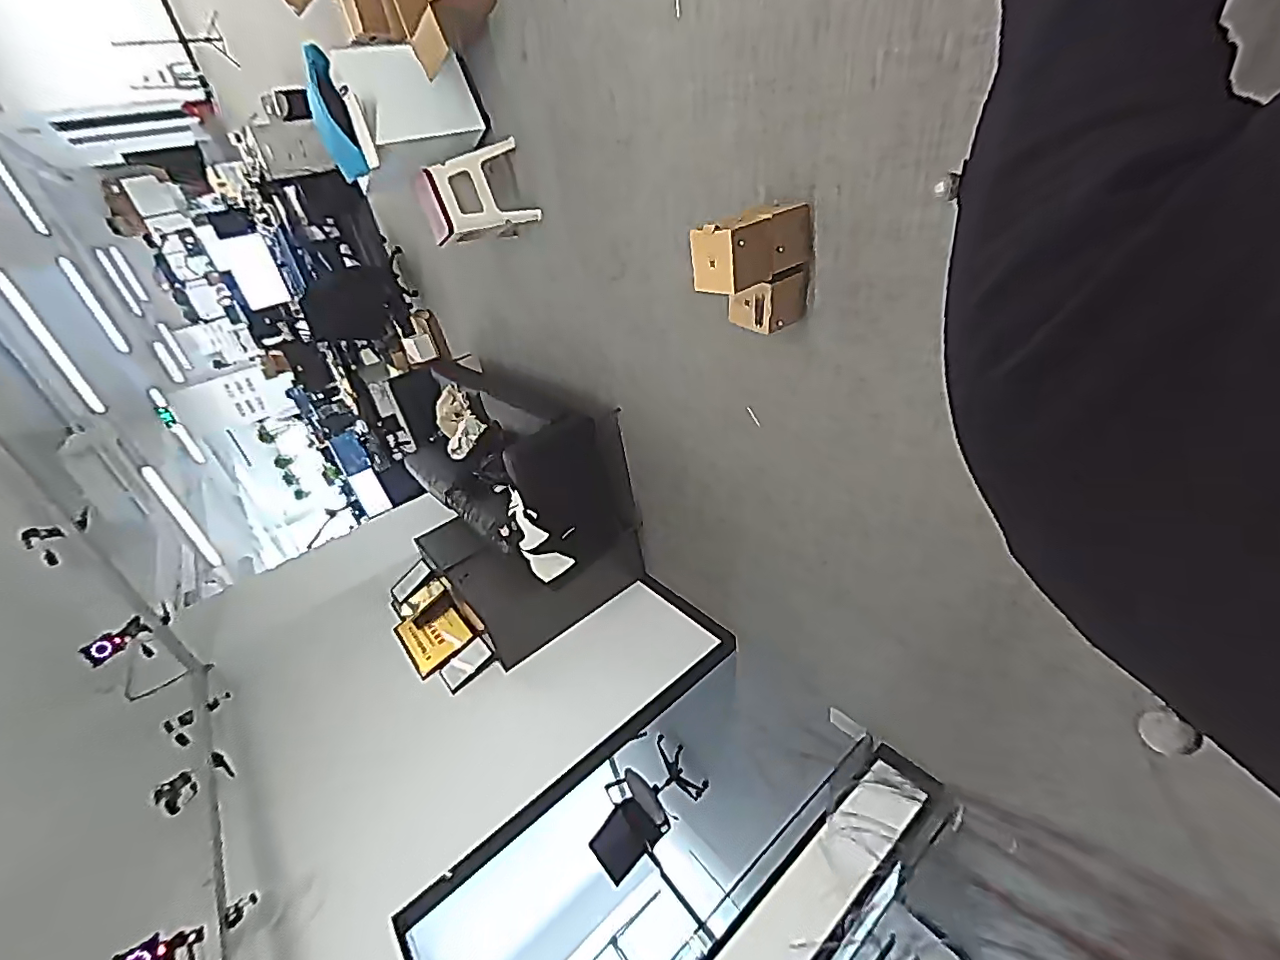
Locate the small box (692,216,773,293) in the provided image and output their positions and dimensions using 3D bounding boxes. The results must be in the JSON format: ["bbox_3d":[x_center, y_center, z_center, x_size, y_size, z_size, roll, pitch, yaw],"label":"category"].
[{"bbox_3d":[0.276,-0.667,1.593,0.168,0.176,0.179,28,137,45],"label":"small box"}]
